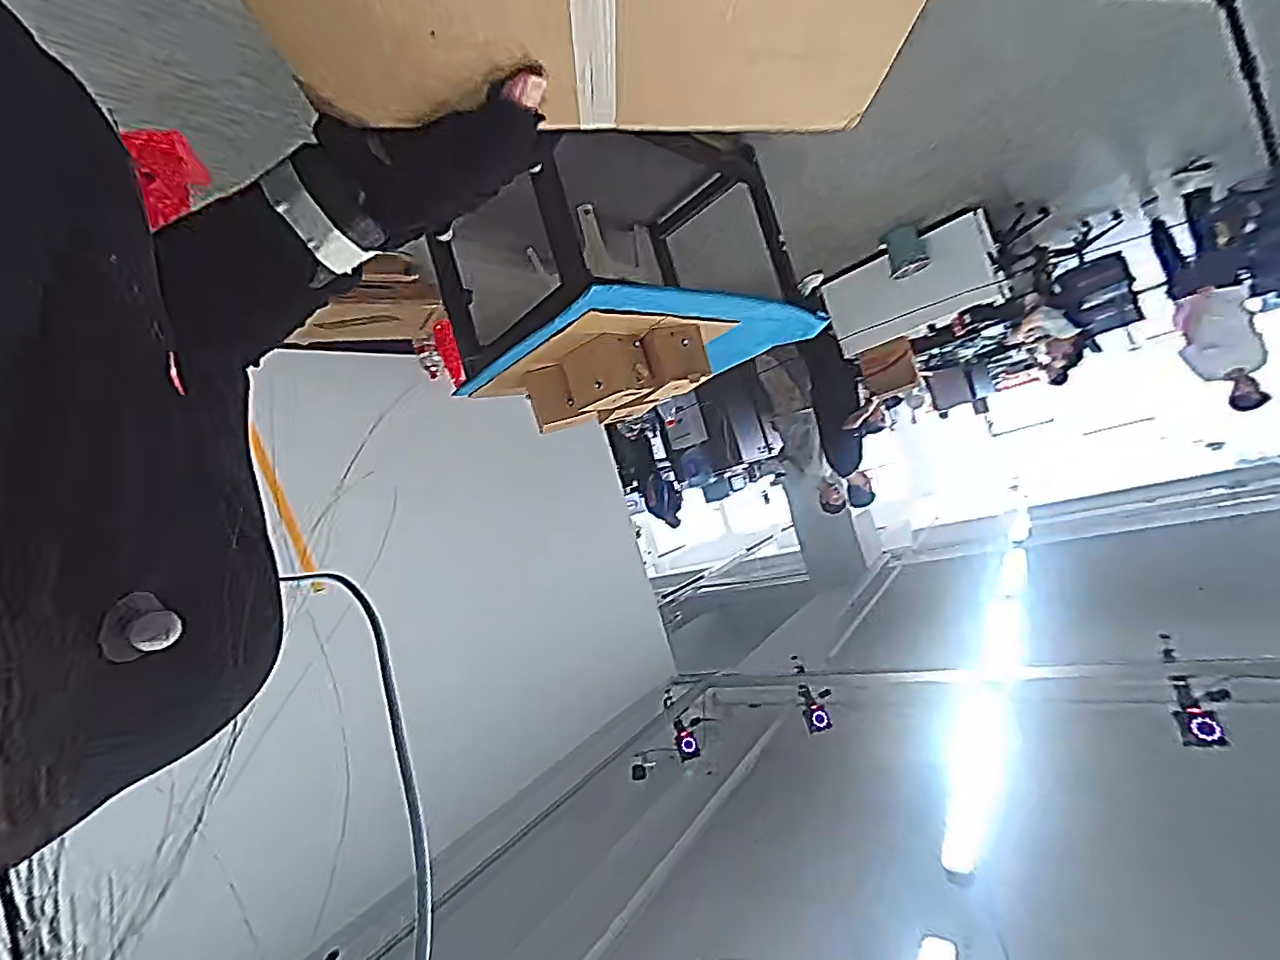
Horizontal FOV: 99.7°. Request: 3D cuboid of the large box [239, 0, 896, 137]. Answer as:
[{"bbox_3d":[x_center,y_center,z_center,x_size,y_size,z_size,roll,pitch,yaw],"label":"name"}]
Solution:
[{"bbox_3d":[-0.033,-0.389,0.150,0.320,0.320,0.408,-1,171,-2],"label":"large box"}]
